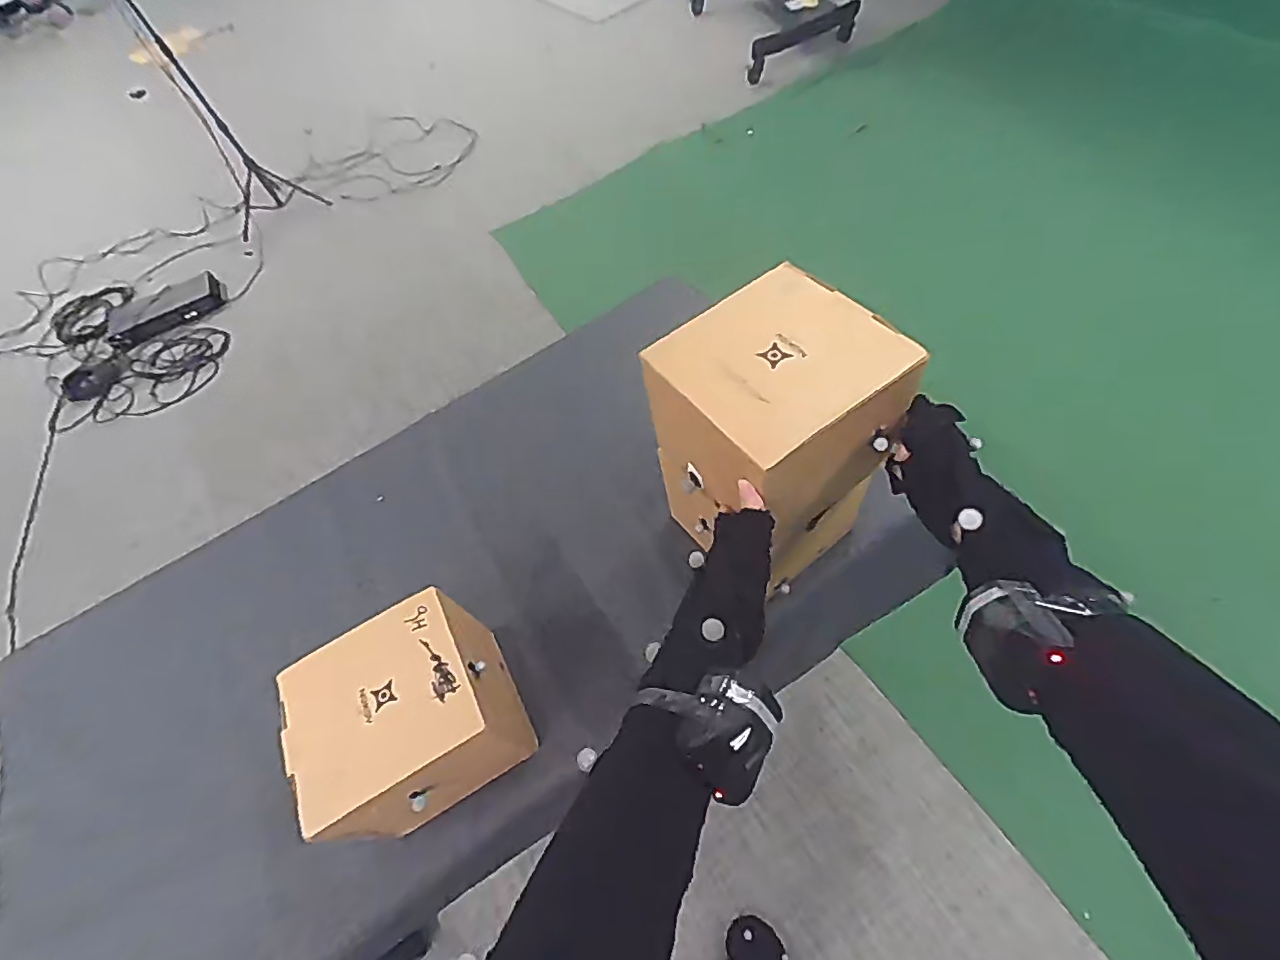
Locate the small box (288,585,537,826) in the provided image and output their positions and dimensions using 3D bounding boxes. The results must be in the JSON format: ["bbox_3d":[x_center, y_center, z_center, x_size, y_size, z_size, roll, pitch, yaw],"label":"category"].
[{"bbox_3d":[-0.240,0.253,0.595,0.179,0.176,0.168,-29,58,-9],"label":"small box"}]

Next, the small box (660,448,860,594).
[{"bbox_3d":[0.148,0.021,0.673,0.168,0.176,0.179,-36,59,-13],"label":"small box"}]

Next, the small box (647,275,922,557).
[{"bbox_3d":[0.131,-0.058,0.532,0.179,0.176,0.168,-35,58,-11],"label":"small box"}]
